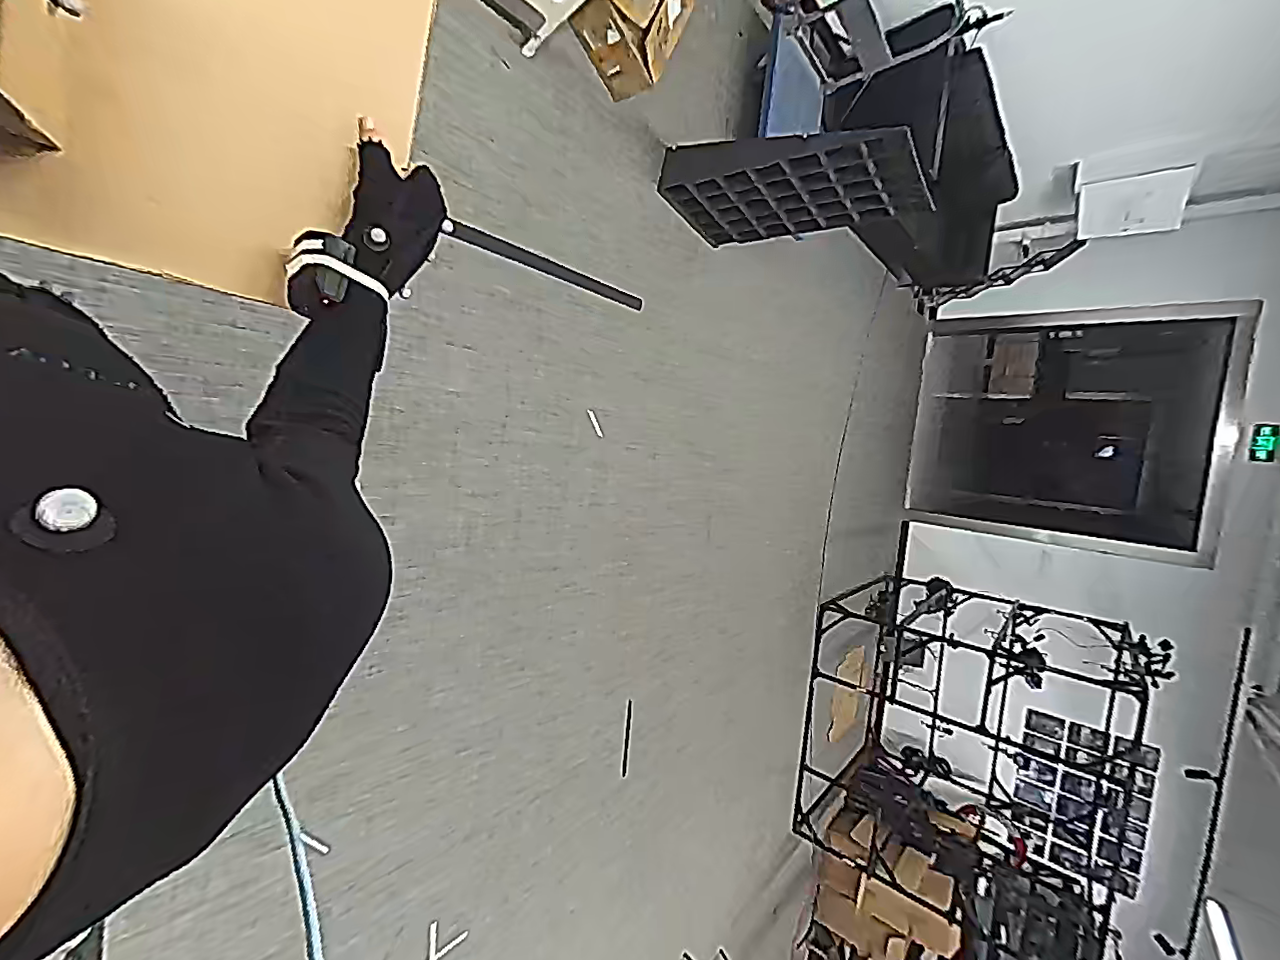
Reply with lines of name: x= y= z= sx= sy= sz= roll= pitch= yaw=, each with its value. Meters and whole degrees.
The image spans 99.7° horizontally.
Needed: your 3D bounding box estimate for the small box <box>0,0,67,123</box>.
small box: x=-0.426 y=-0.316 z=0.274 sx=0.179 sy=0.176 sz=0.168 roll=9 pitch=99 yaw=-39
